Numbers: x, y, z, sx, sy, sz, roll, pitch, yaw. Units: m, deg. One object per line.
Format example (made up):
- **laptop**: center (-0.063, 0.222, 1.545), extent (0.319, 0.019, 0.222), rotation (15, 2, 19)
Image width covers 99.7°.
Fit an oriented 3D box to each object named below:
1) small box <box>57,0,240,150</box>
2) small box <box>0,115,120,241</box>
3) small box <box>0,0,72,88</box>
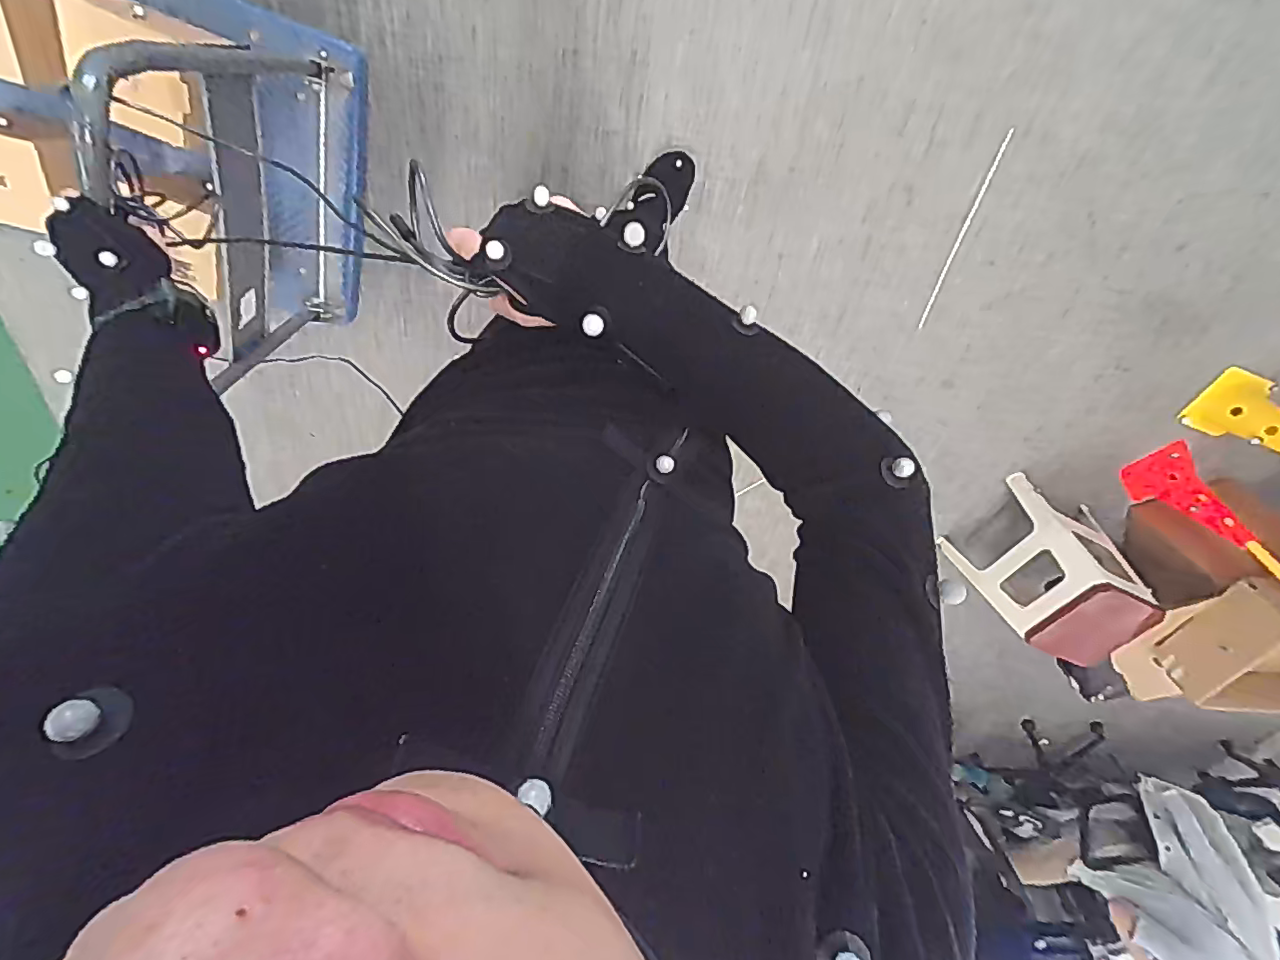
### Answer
- **small box**: center (-0.861, -0.721, 0.969), extent (0.179, 0.176, 0.168), rotation (16, 125, -14)
- **small box**: center (-1.175, -0.593, 1.055), extent (0.179, 0.176, 0.168), rotation (13, 125, -10)
- **small box**: center (-1.090, -0.787, 0.911), extent (0.179, 0.176, 0.168), rotation (13, 126, -12)
